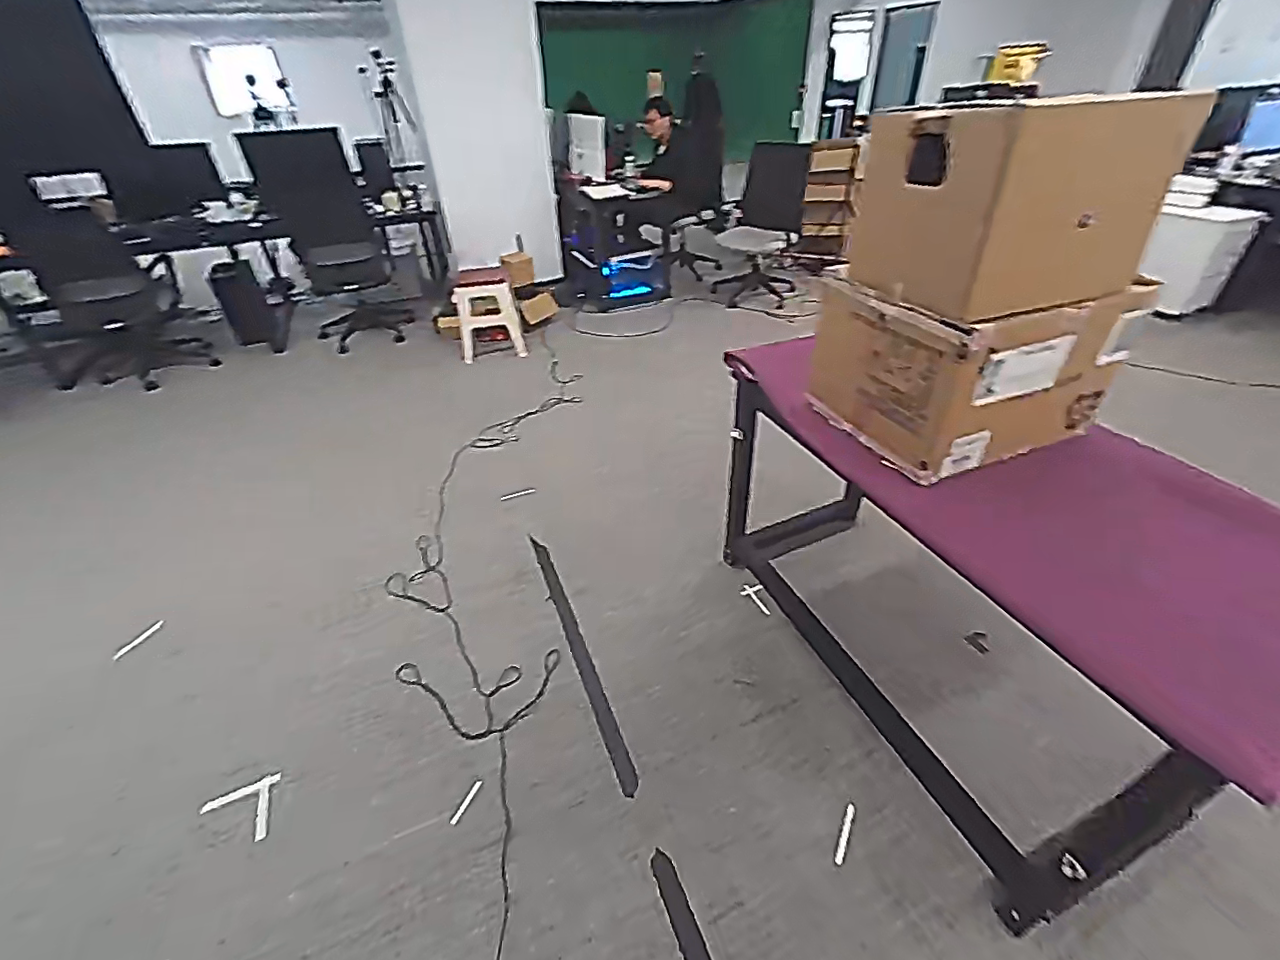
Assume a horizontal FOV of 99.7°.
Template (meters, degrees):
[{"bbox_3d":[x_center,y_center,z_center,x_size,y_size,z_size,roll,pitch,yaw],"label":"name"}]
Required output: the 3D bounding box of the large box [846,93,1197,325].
[{"bbox_3d":[0.662,-0.511,1.004,0.408,0.320,0.320,-15,34,-15],"label":"large box"}]
